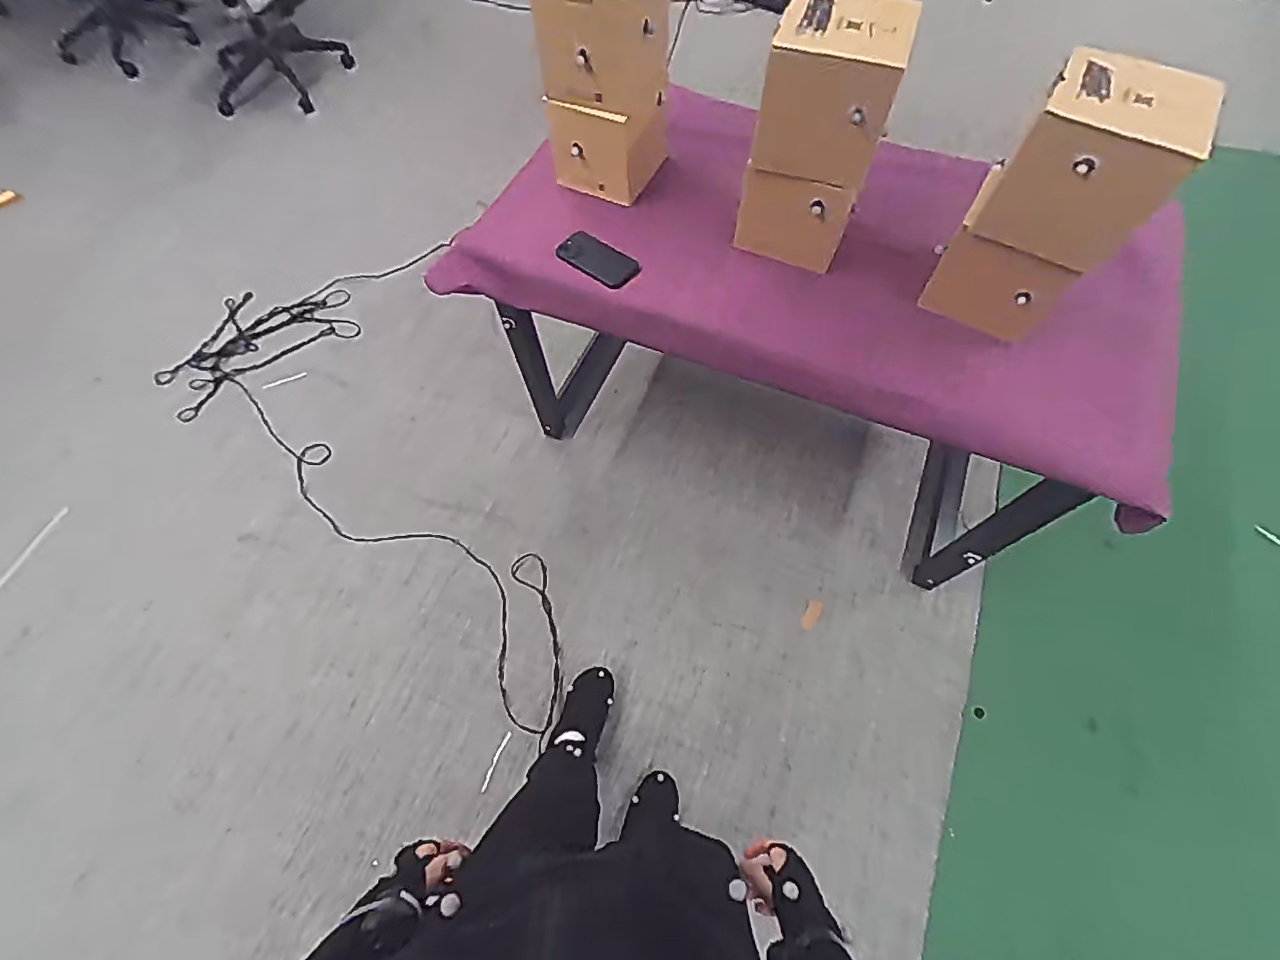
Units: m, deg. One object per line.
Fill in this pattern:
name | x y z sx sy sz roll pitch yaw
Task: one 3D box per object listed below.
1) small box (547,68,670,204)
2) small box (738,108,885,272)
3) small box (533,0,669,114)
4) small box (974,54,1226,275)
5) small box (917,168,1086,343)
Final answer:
small box | -0.051 -0.666 1.033 0.168 0.176 0.179 25 68 13
small box | 0.287 -0.494 0.939 0.179 0.176 0.168 24 67 13
small box | -0.052 -0.743 0.888 0.168 0.176 0.179 20 67 10
small box | 0.581 -0.402 0.706 0.179 0.176 0.168 30 68 14
small box | 0.585 -0.347 0.861 0.179 0.176 0.168 30 69 16
